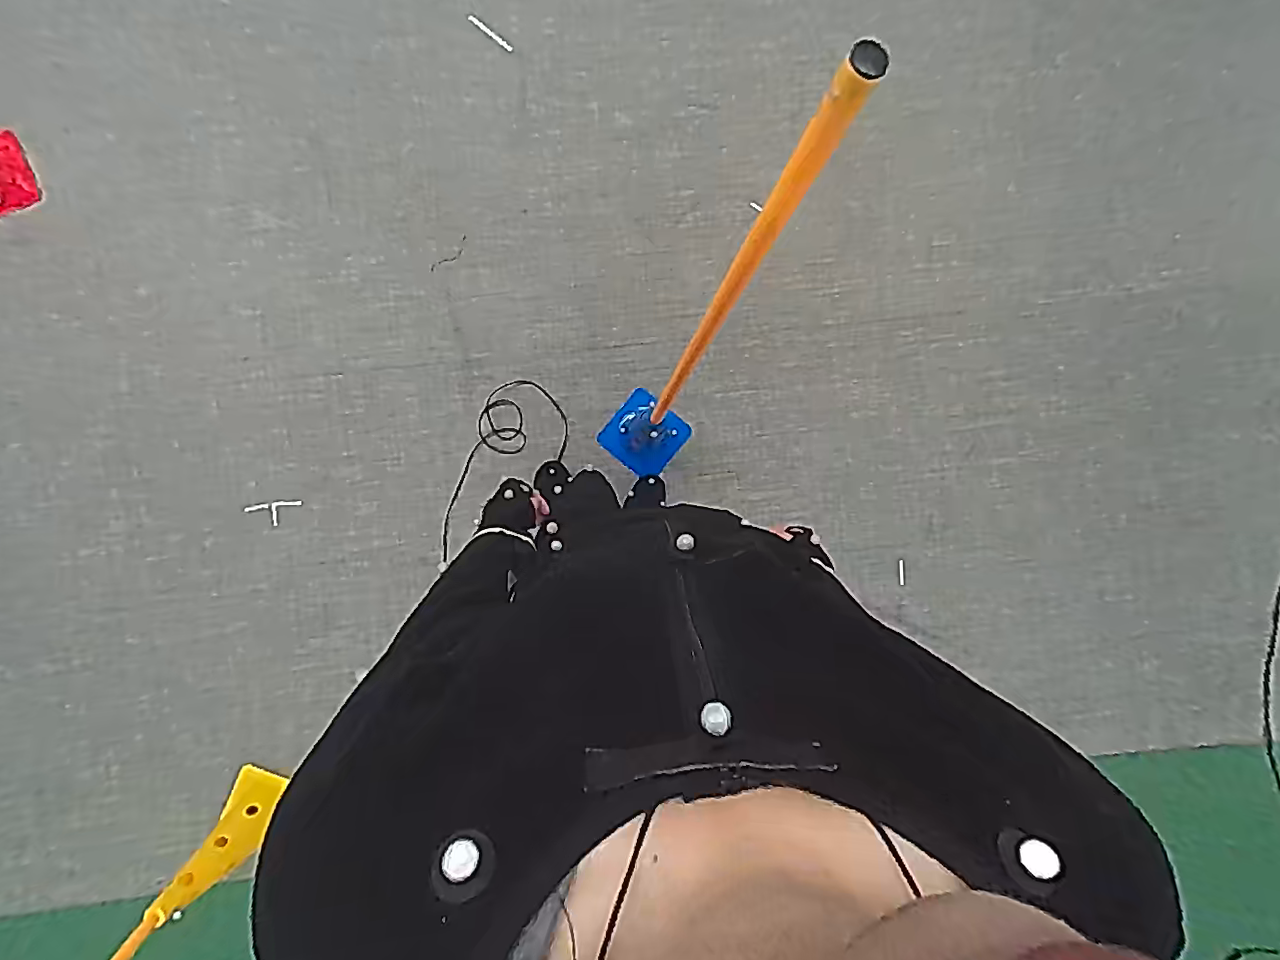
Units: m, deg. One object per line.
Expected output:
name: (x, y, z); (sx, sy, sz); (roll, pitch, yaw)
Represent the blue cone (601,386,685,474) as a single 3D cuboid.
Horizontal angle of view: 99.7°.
blue cone: (0.020, -0.140, 1.308); (0.192, 0.380, 0.193); (39, 87, -3)
